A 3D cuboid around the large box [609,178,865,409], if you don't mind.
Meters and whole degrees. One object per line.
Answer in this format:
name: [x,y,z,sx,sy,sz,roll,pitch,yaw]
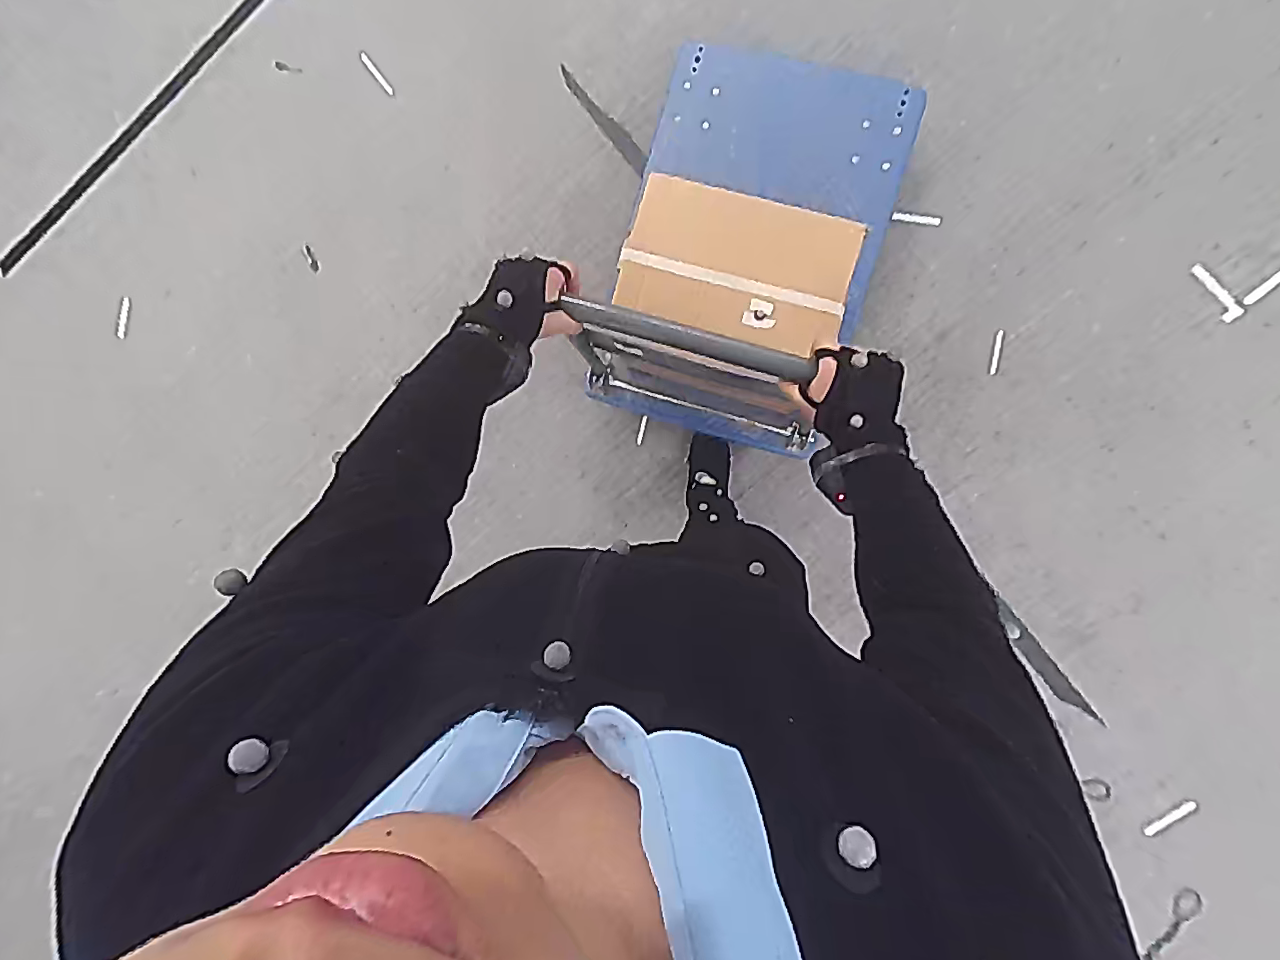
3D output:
large box: [0.182,-0.360,1.128,0.408,0.320,0.320,17,93,5]
